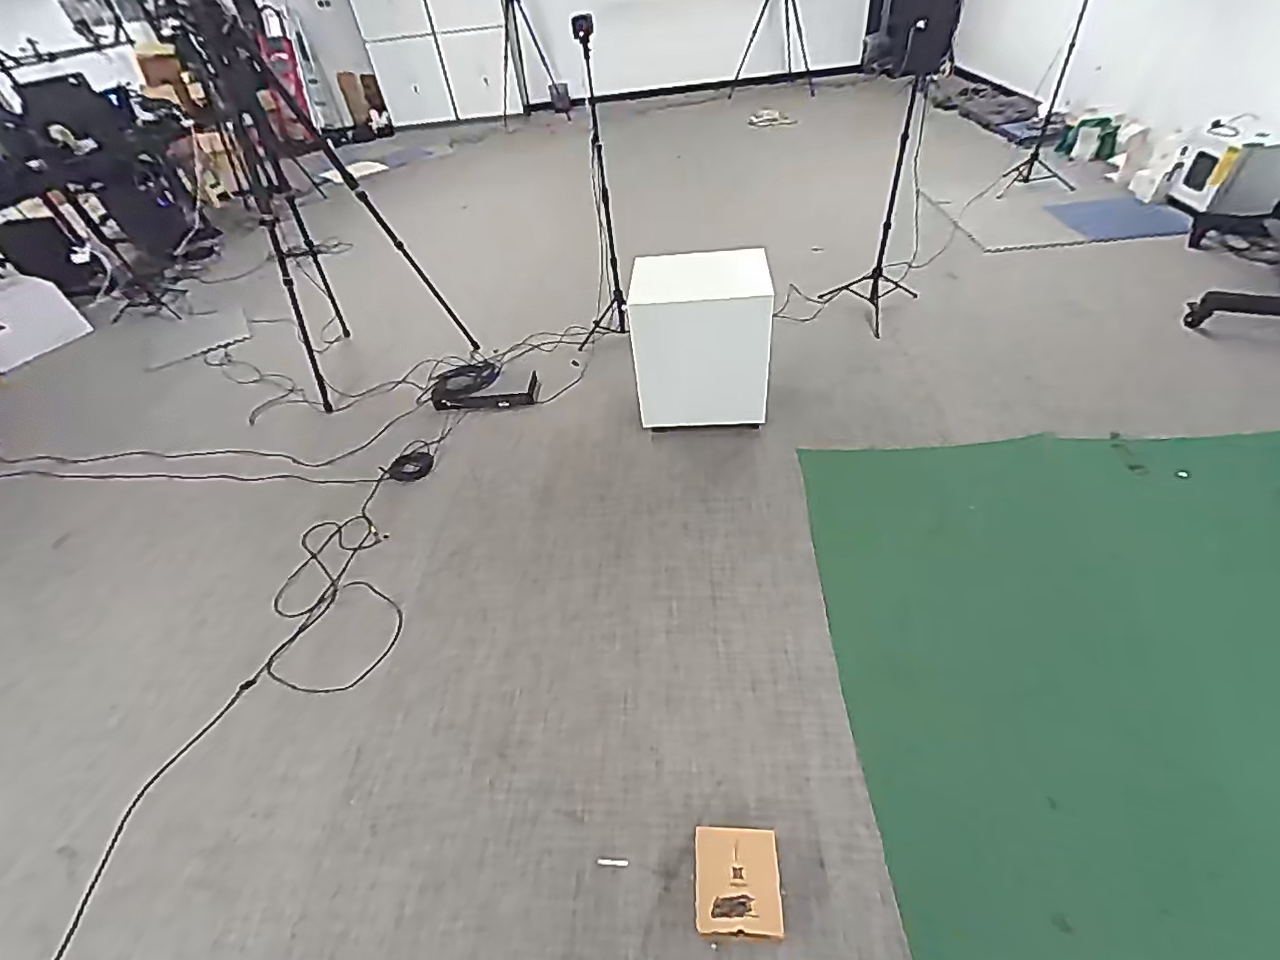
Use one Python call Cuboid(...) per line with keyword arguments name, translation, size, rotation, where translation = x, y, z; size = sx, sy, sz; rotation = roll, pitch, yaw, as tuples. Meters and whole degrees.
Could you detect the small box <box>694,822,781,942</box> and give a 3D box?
Cuboid(name="small box", translation=(0.198, 0.840, 1.129), size=(0.168, 0.176, 0.179), rotation=(-1, 45, 6))
